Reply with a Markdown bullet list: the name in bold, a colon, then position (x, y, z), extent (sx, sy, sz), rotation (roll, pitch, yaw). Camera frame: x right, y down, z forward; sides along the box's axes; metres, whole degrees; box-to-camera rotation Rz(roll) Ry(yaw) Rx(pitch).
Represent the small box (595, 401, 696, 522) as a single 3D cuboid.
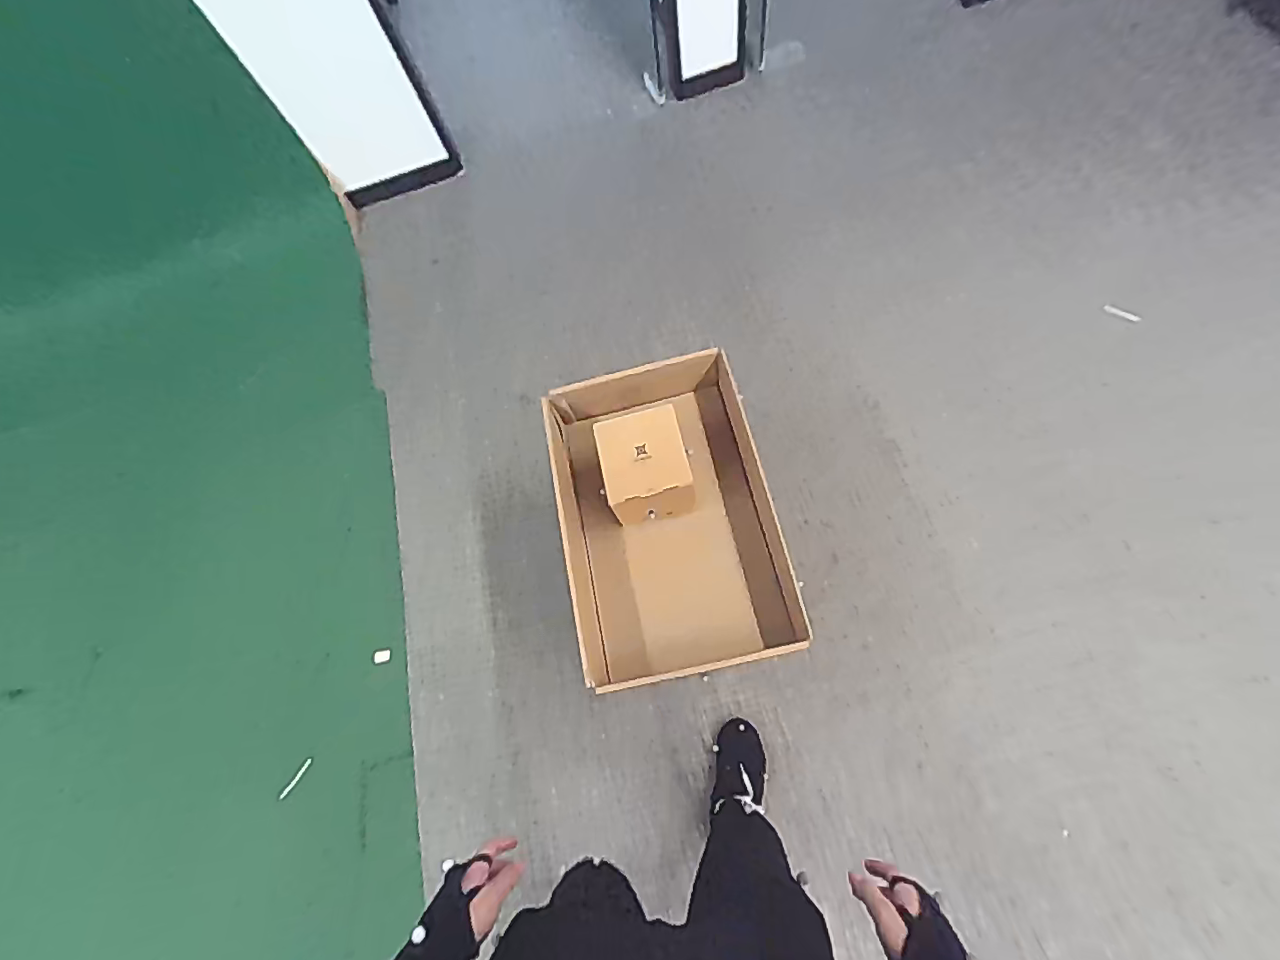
- **small box**: position (0.015, -0.031, 1.107), extent (0.168, 0.176, 0.179), rotation (-15, 69, 3)
